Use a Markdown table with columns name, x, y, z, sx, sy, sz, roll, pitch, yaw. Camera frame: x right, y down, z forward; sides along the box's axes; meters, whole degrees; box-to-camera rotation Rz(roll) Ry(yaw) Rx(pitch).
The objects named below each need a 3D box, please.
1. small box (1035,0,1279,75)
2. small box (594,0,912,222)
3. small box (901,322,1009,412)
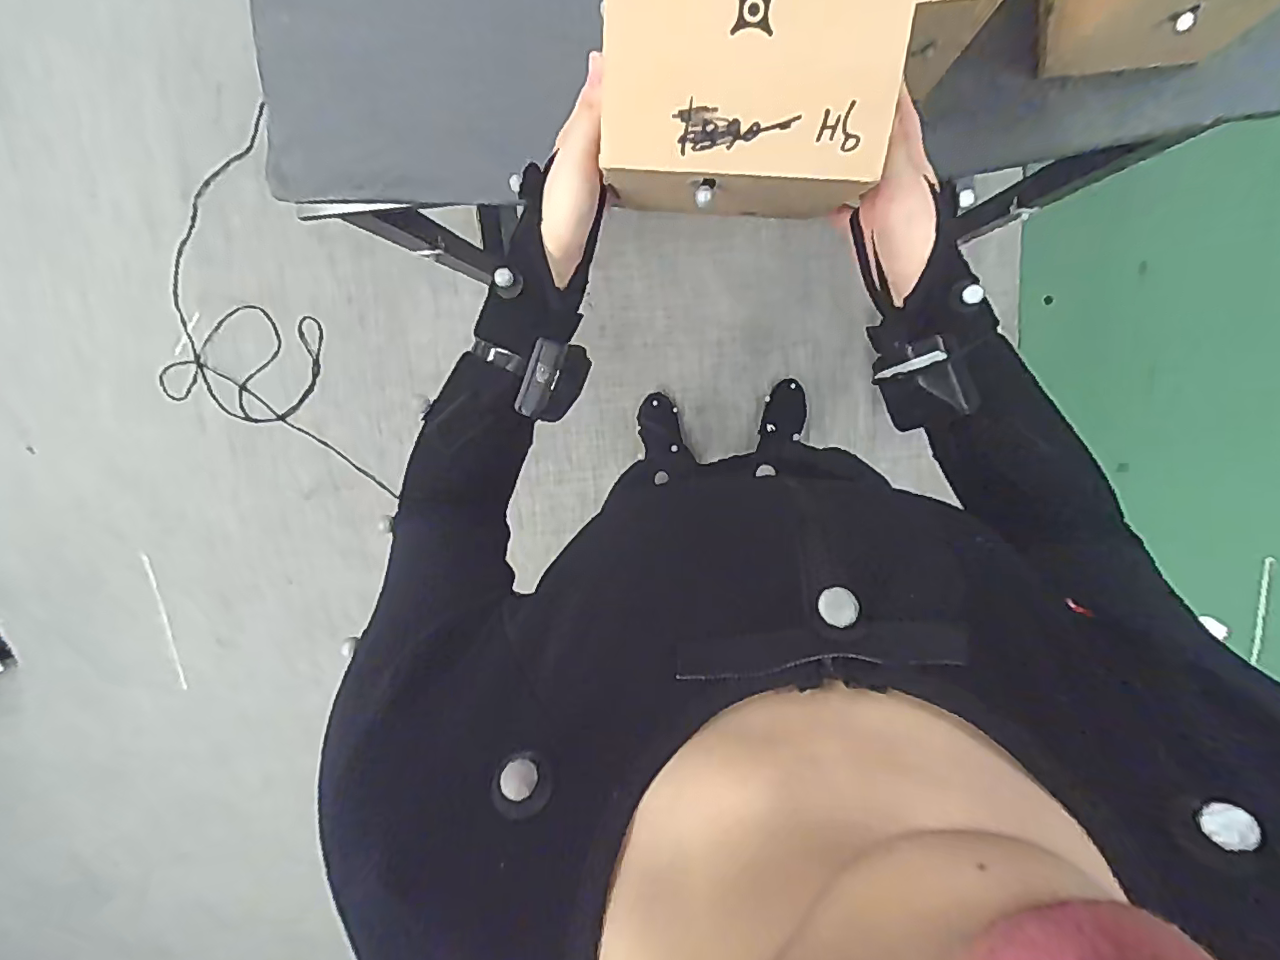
| name | x | y | z | sx | sy | sz | roll | pitch | yaw |
| --- | --- | --- | --- | --- | --- | --- | --- | --- | --- |
| small box | 0.524 | -0.529 | 0.515 | 0.179 | 0.176 | 0.168 | -2 | 97 | 6 |
| small box | 0.067 | -0.284 | 0.360 | 0.168 | 0.176 | 0.179 | 6 | 109 | 4 |
| small box | 0.748 | -0.270 | 1.297 | 0.168 | 0.176 | 0.179 | -11 | 100 | 6 |
